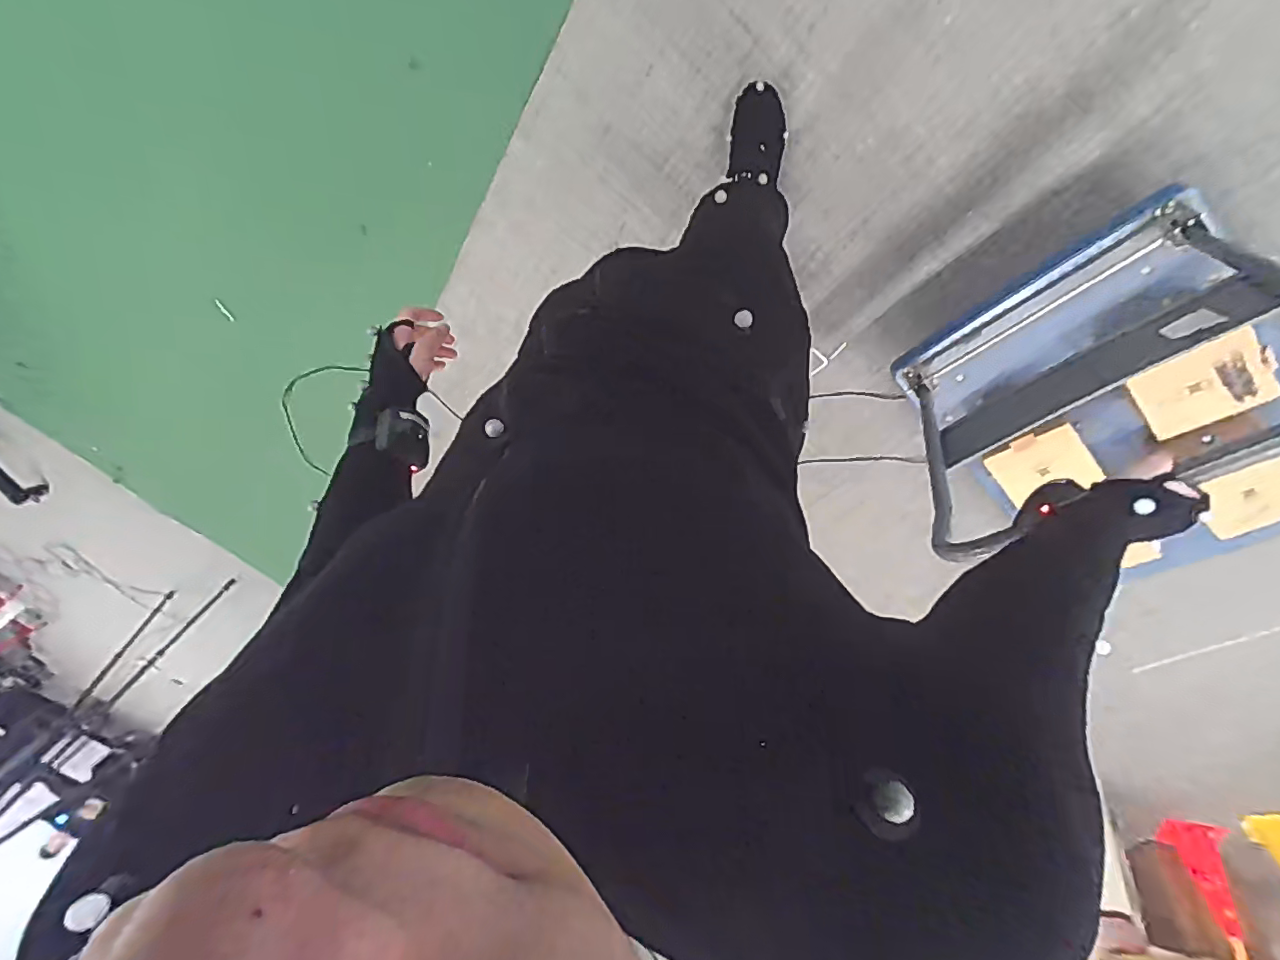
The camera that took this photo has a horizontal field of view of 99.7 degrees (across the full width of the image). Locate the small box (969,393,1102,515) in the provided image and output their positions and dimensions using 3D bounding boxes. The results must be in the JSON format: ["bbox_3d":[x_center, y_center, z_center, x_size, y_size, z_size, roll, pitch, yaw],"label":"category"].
[{"bbox_3d":[0.865,-0.059,1.196,0.179,0.176,0.168,45,128,-15],"label":"small box"}]

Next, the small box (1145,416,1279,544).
[{"bbox_3d":[1.199,-0.008,1.107,0.179,0.176,0.168,41,130,-12],"label":"small box"}]

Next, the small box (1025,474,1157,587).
[{"bbox_3d":[1.034,0.111,1.260,0.179,0.176,0.168,43,128,-13],"label":"small box"}]
